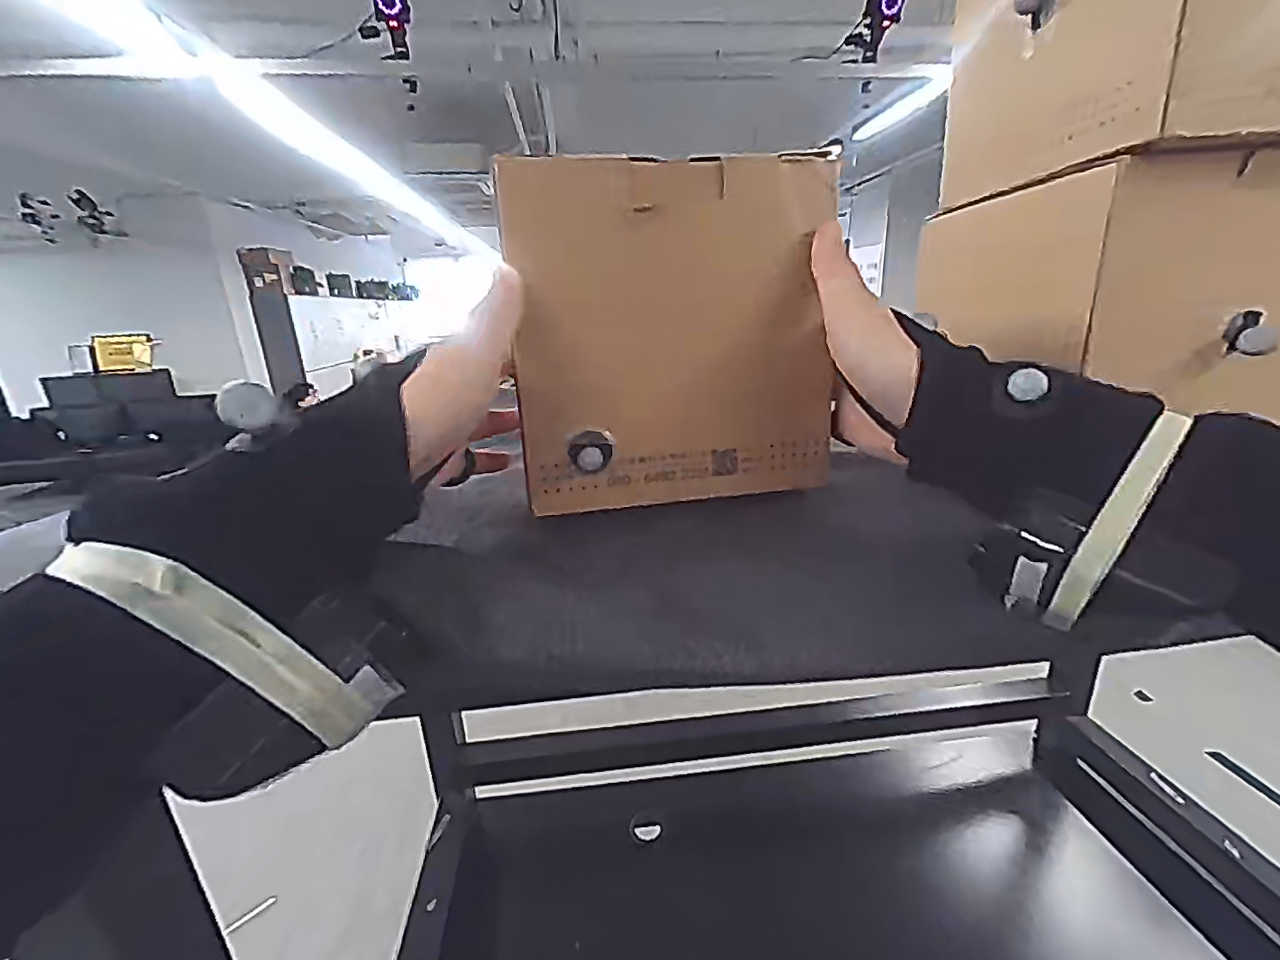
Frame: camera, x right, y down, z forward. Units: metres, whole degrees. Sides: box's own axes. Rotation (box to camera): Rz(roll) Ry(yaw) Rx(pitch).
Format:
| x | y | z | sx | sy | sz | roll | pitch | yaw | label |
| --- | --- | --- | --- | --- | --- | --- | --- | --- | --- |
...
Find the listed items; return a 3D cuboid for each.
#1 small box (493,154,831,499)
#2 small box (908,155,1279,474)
| x | y | z | sx | sy | sz | roll | pitch | yaw | label |
| --- | --- | --- | --- | --- | --- | --- | --- | --- | --- |
| 0.006 | -0.087 | 0.348 | 0.168 | 0.176 | 0.179 | -6 | 14 | -9 | small box |
| 0.307 | -0.103 | 0.364 | 0.168 | 0.176 | 0.179 | -3 | 17 | -2 | small box |
